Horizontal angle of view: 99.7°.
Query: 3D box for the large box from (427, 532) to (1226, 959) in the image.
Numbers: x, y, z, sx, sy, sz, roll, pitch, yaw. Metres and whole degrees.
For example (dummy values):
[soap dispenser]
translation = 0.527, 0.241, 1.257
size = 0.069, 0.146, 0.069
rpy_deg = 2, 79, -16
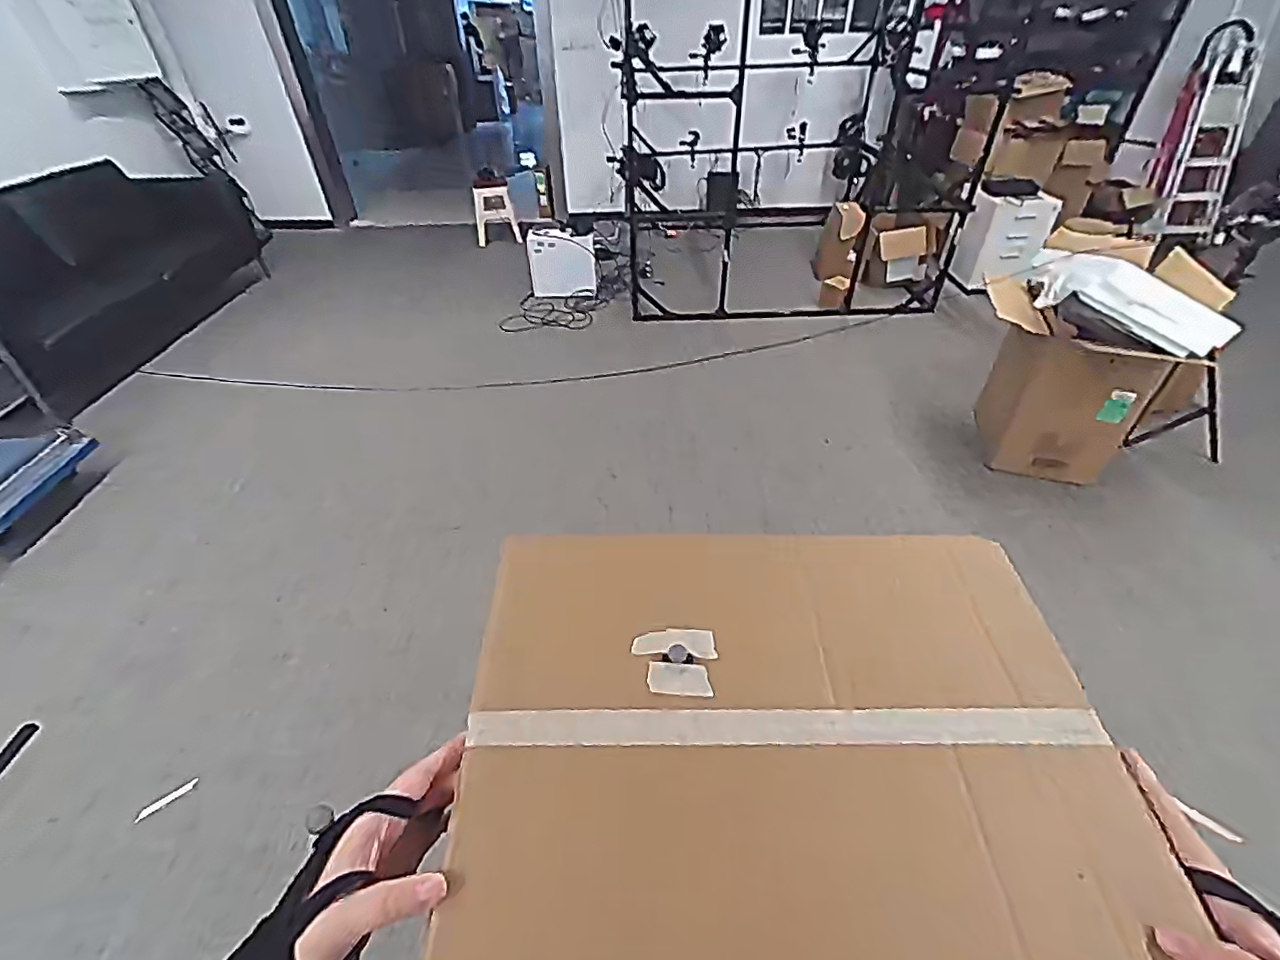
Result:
[large box]
translation = 0.095, 0.260, 0.448
size = 0.408, 0.320, 0.320
rpy_deg = -1, 47, 1
